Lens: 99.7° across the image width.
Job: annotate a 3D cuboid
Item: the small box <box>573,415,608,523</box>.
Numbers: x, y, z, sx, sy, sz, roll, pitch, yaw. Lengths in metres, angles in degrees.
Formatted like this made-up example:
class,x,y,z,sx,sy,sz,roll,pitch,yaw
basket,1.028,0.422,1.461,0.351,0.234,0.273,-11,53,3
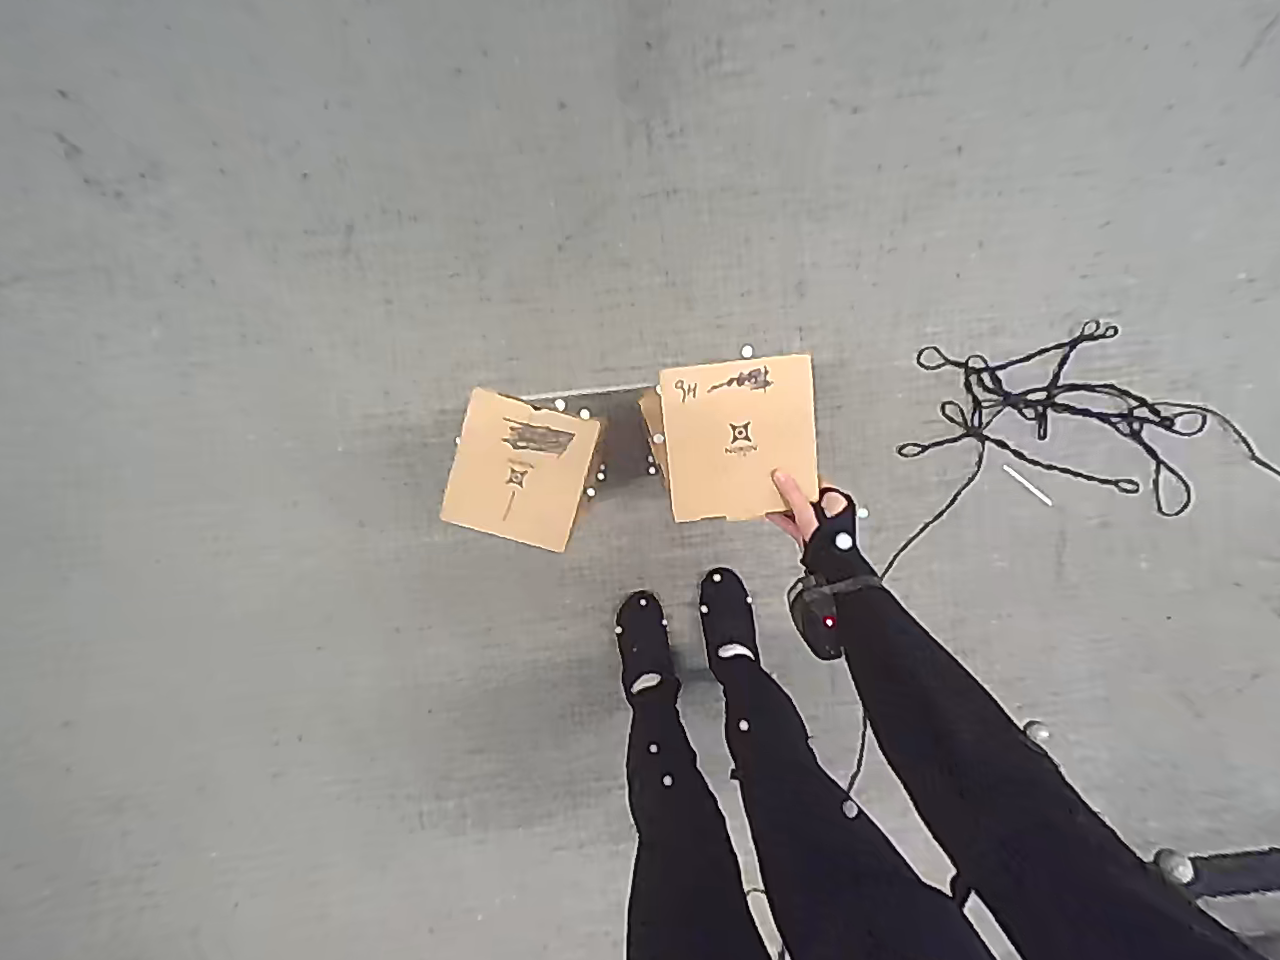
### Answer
class,x,y,z,sx,sy,sz,roll,pitch,yaw
small box,-0.155,-0.031,0.925,0.179,0.176,0.168,11,92,-3

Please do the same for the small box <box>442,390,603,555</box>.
class,x,y,z,sx,sy,sz,roll,pitch,yaw
small box,-0.153,-0.013,0.762,0.168,0.176,0.179,16,93,-3

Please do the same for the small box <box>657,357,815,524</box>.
class,x,y,z,sx,sy,sz,roll,pitch,yaw
small box,0.112,-0.055,0.669,0.168,0.176,0.179,-5,100,4

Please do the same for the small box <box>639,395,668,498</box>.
class,x,y,z,sx,sy,sz,roll,pitch,yaw
small box,0.103,-0.075,0.925,0.179,0.176,0.168,-18,94,0
